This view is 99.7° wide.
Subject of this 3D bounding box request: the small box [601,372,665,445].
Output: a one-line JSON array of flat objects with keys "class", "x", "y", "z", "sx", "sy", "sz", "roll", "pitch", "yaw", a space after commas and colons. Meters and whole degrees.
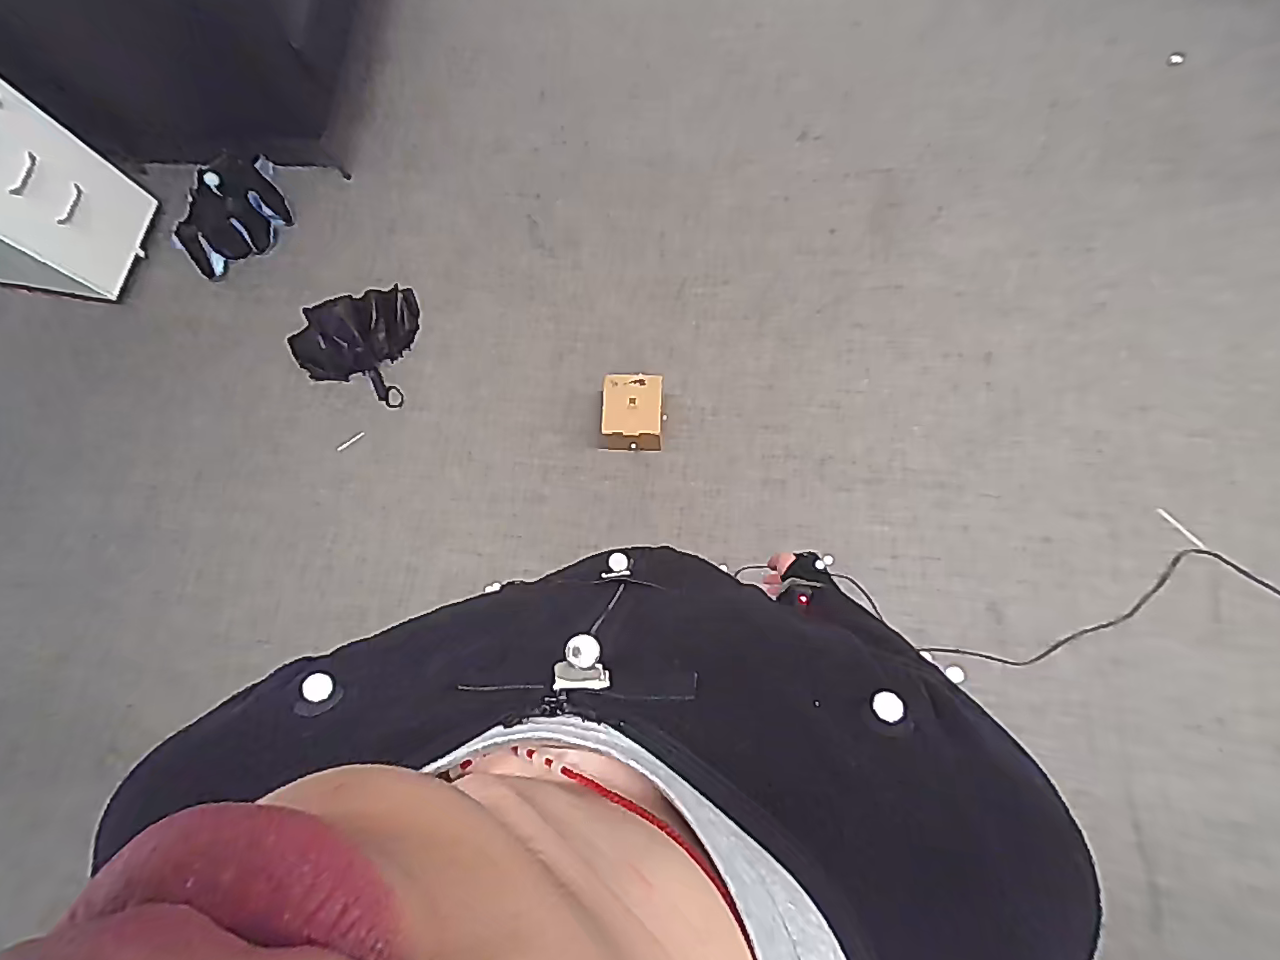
[{"class": "small box", "x": -0.015, "y": -0.205, "z": 1.583, "sx": 0.168, "sy": 0.176, "sz": 0.179, "roll": 1, "pitch": 80, "yaw": 5}]
